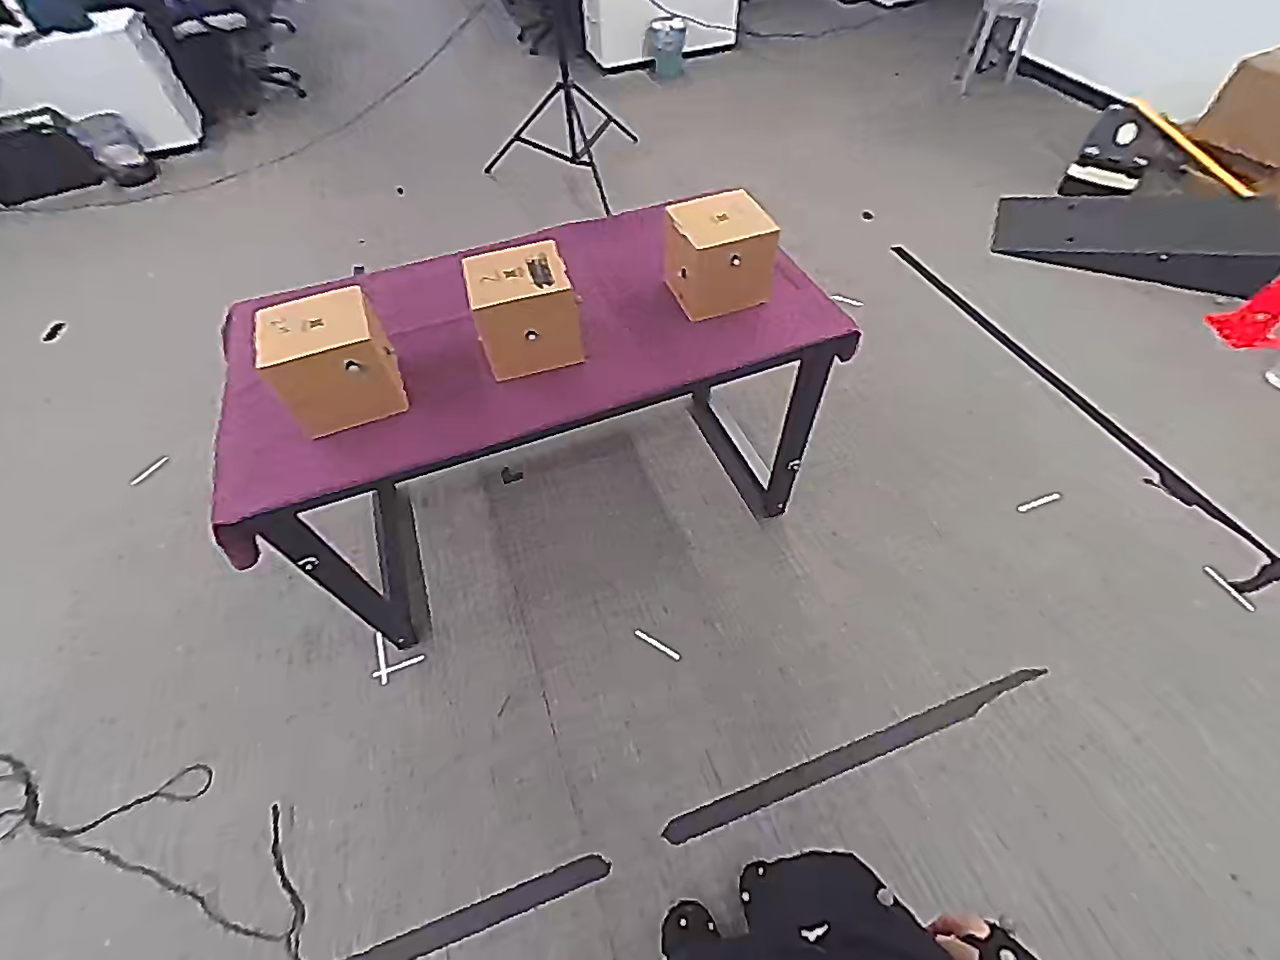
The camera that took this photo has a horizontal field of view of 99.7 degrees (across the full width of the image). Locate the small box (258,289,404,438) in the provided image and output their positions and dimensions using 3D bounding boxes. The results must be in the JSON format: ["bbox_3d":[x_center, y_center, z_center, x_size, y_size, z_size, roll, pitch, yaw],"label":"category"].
[{"bbox_3d":[-0.539,-0.204,0.961,0.179,0.176,0.168,-20,55,-12],"label":"small box"}]

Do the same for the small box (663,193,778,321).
[{"bbox_3d":[0.157,-0.452,1.109,0.179,0.176,0.168,-17,56,-10],"label":"small box"}]
